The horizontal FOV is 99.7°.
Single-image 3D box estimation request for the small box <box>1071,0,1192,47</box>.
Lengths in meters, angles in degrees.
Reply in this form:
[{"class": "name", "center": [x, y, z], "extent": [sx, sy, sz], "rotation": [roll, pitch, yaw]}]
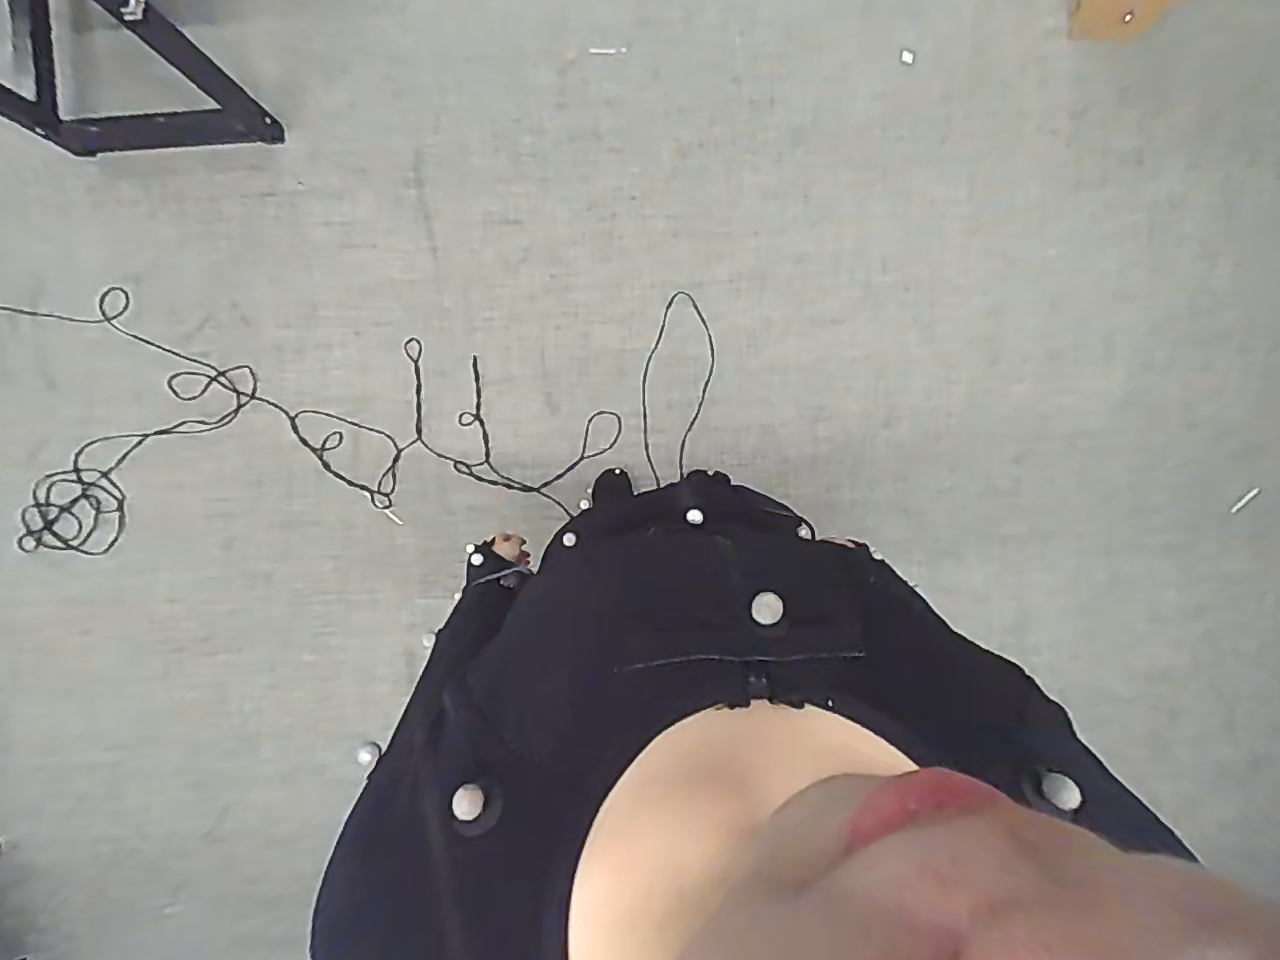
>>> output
[{"class": "small box", "center": [1.246, -1.240, 1.361], "extent": [0.179, 0.176, 0.168], "rotation": [7, 92, 1]}]
